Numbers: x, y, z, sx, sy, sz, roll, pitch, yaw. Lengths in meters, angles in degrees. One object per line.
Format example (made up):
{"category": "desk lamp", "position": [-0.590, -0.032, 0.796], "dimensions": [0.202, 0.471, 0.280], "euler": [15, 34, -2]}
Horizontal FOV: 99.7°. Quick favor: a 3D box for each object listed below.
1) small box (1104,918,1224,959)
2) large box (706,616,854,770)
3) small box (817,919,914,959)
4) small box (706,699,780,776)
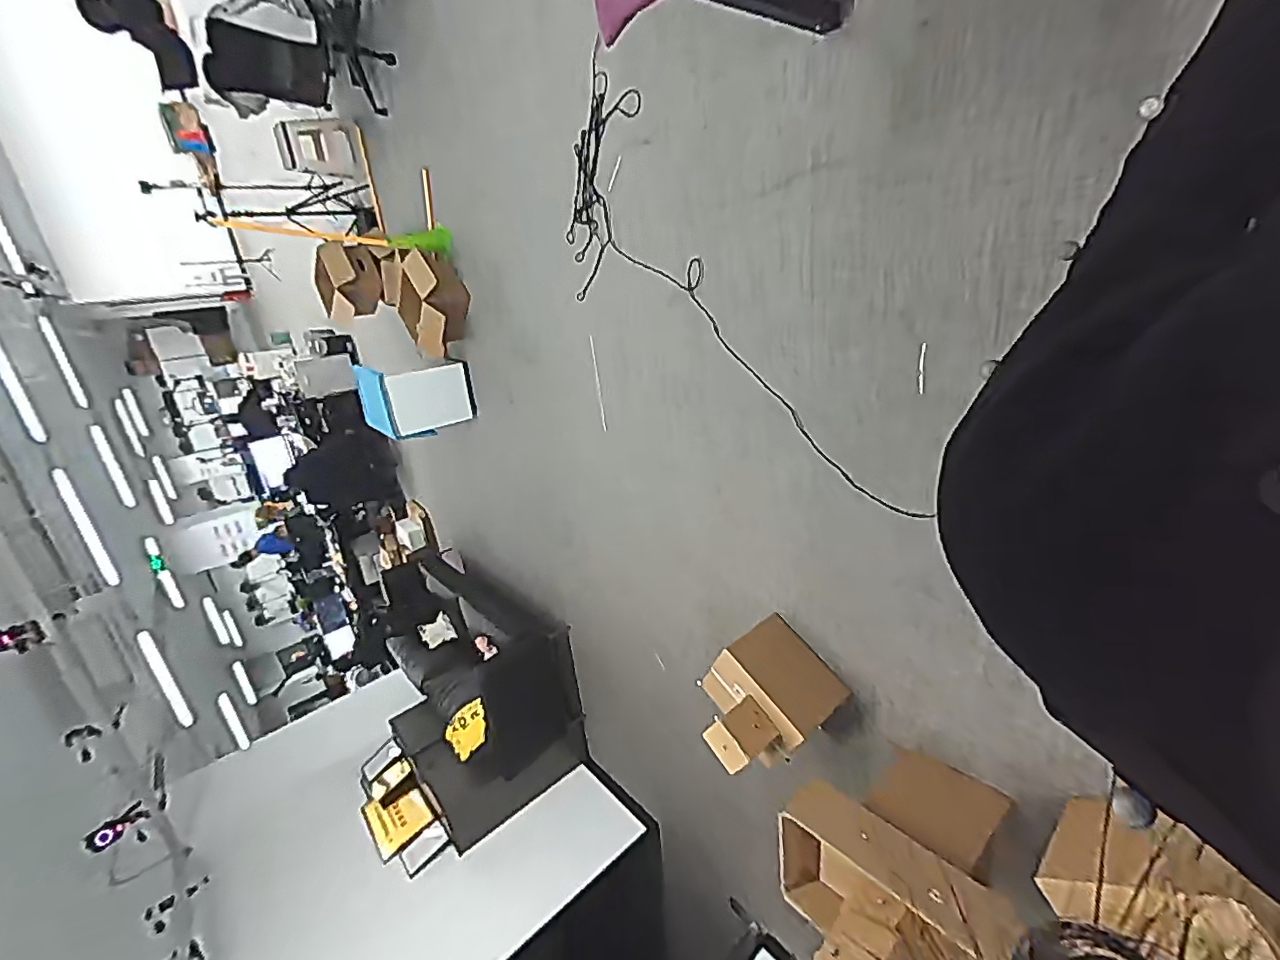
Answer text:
{"category": "small box", "position": [1.082, 1.042, 1.082], "dimensions": [0.179, 0.176, 0.168], "euler": [61, 144, 10]}
{"category": "large box", "position": [0.535, 0.822, 2.111], "dimensions": [0.408, 0.320, 0.320], "euler": [48, 139, 29]}
{"category": "small box", "position": [0.595, 1.279, 1.379], "dimensions": [0.179, 0.176, 0.168], "euler": [-29, 84, 53]}
{"category": "small box", "position": [0.374, 0.929, 1.957], "dimensions": [0.168, 0.176, 0.179], "euler": [50, 142, 25]}
